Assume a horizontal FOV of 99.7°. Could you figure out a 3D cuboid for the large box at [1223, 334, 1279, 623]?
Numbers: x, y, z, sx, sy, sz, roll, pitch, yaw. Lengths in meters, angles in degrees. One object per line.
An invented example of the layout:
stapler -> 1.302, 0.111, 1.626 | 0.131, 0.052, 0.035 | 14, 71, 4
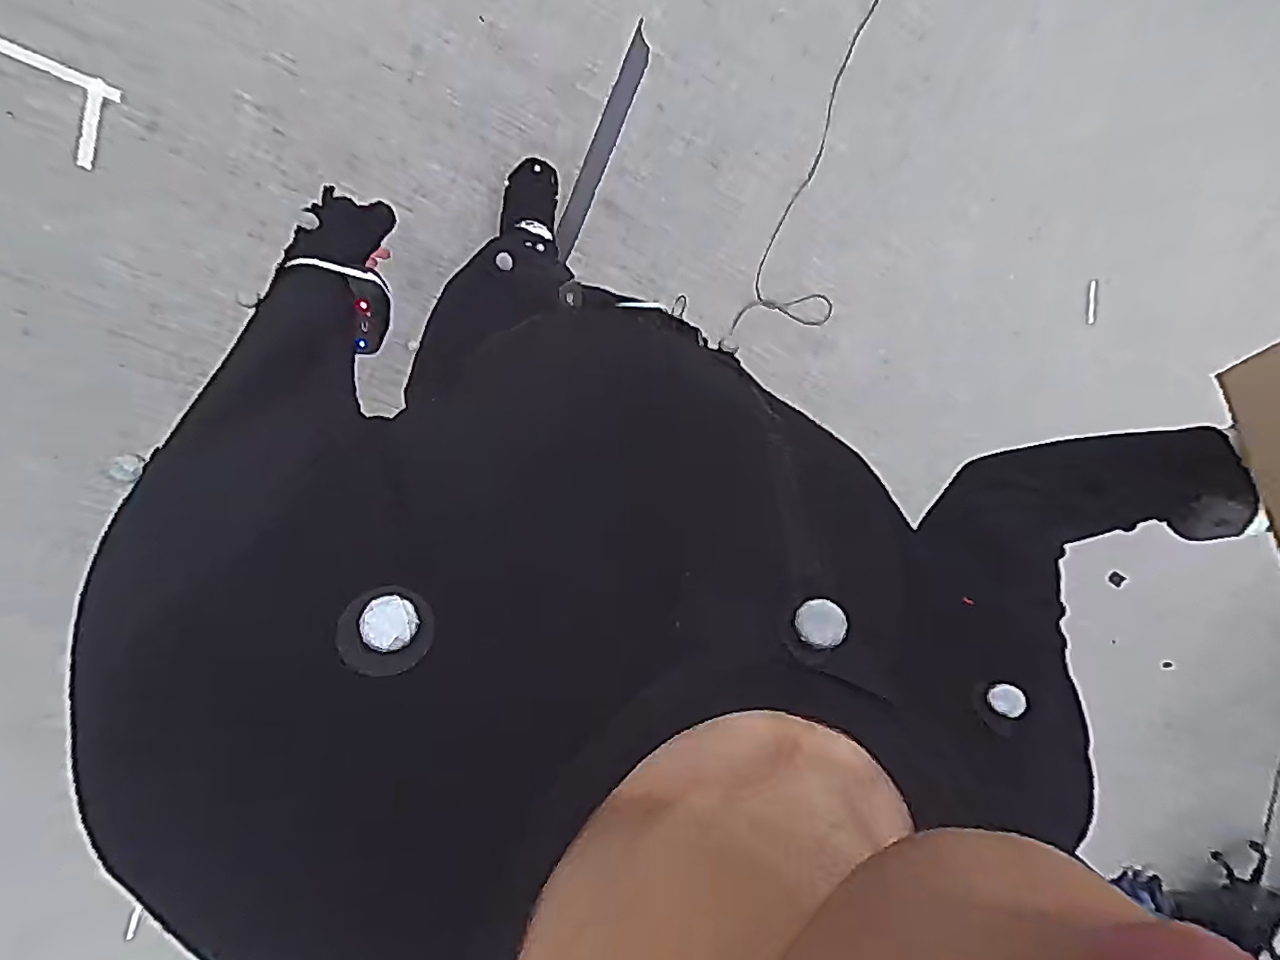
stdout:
large box -> 0.467, 0.046, 0.140 | 0.320, 0.320, 0.408 | 49, 50, 4
